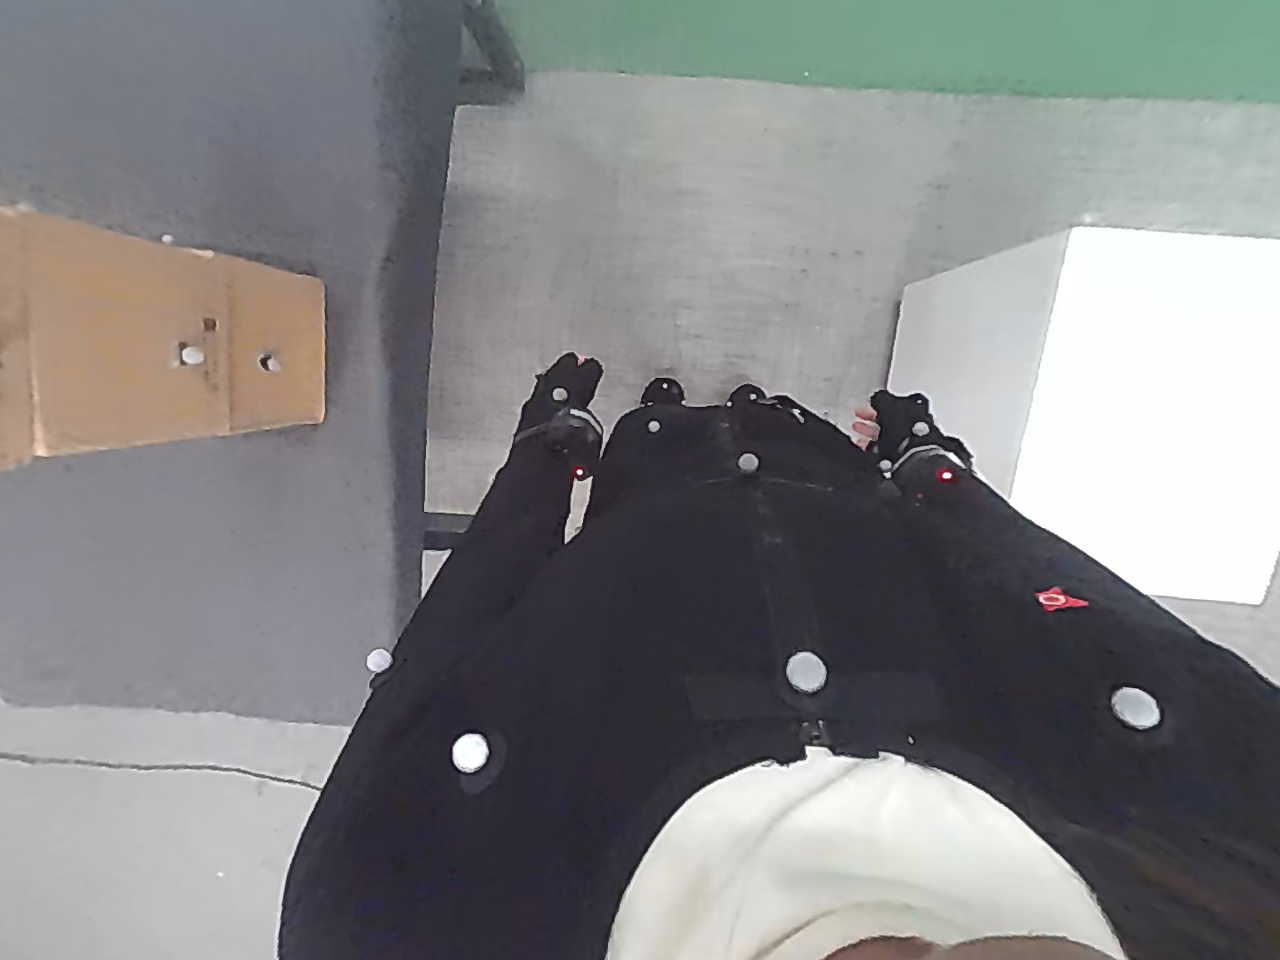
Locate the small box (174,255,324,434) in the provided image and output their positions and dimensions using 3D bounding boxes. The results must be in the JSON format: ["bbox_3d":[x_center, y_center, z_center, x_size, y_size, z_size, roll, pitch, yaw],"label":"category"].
[{"bbox_3d":[-0.486,-0.158,0.611,0.168,0.176,0.179,7,103,3],"label":"small box"}]

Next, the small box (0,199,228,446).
[{"bbox_3d":[-0.495,-0.125,0.450,0.179,0.176,0.168,5,102,5],"label":"small box"}]
